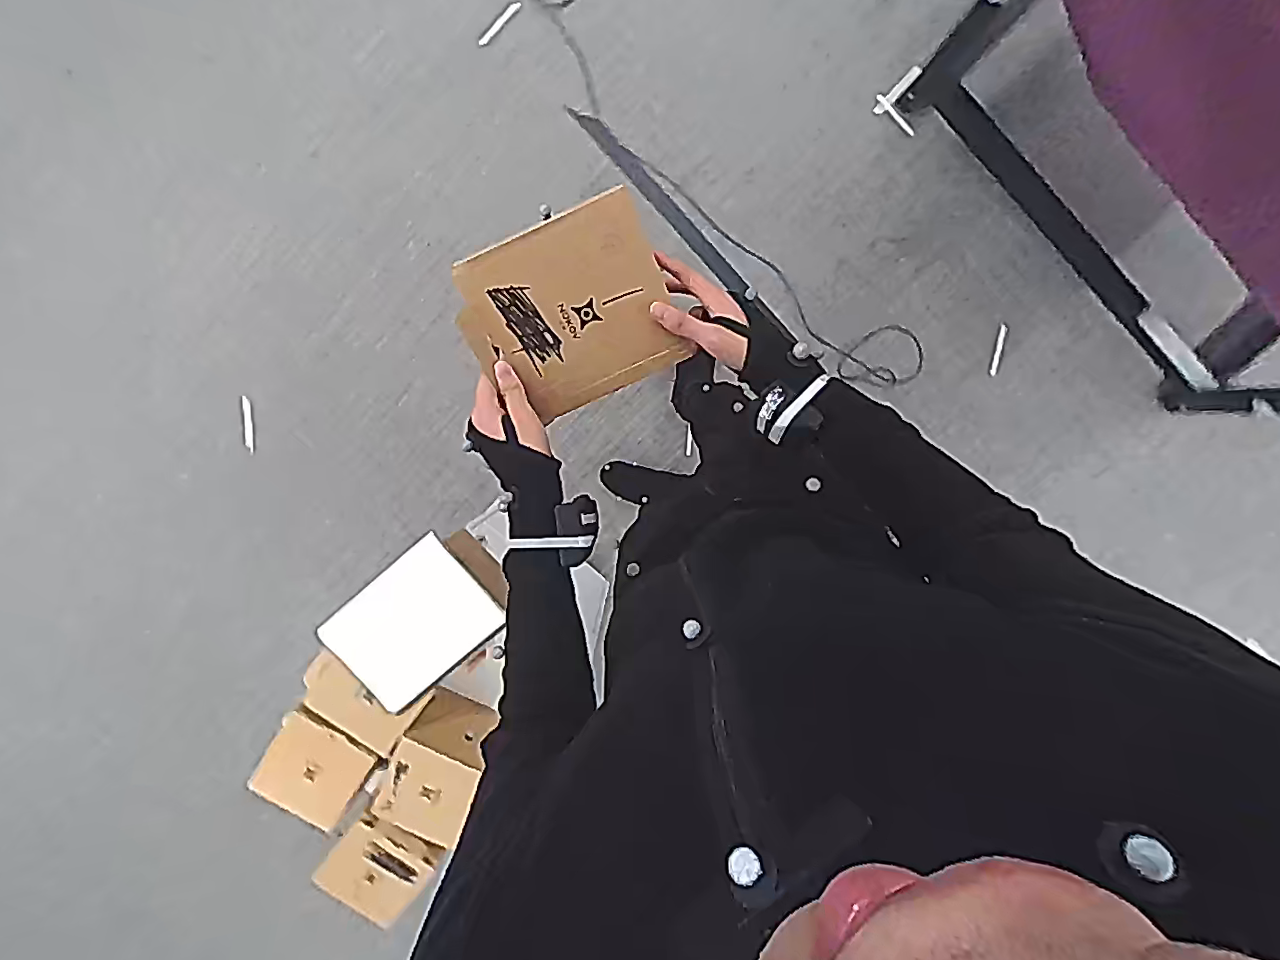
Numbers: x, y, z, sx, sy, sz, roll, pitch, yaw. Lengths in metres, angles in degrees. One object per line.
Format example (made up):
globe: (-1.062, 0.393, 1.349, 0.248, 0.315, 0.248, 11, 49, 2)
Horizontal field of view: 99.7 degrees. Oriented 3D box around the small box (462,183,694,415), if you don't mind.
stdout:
small box: (-0.060, -0.197, 0.583, 0.179, 0.176, 0.168, -22, 118, 5)
